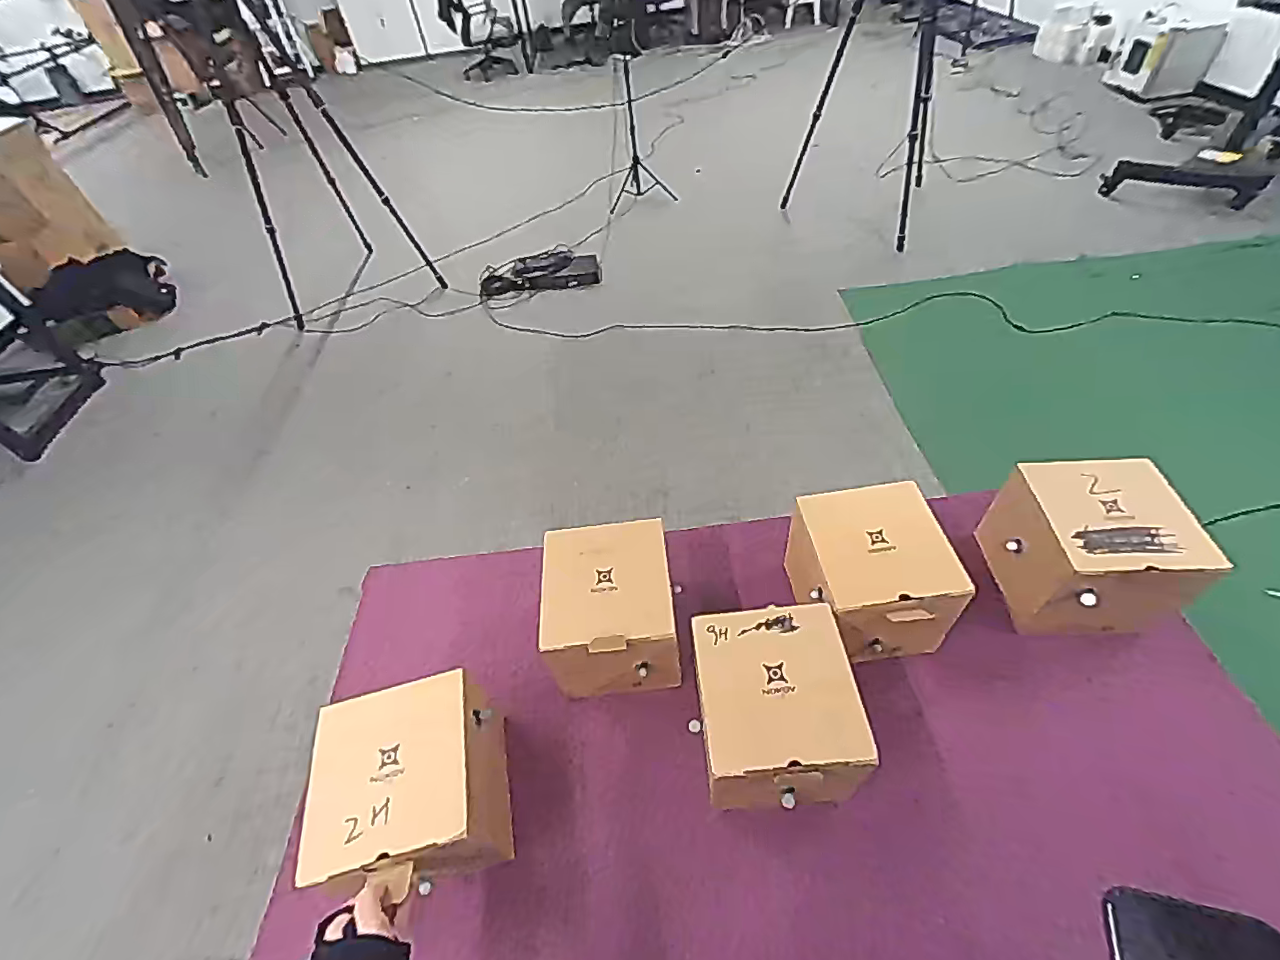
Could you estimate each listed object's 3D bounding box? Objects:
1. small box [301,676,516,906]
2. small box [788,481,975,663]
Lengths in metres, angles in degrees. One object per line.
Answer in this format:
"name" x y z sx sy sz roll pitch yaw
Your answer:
"small box" -0.250 0.361 0.626 0.168 0.176 0.179 -14 49 -4
"small box" 0.311 0.128 0.745 0.168 0.176 0.179 -9 50 1
